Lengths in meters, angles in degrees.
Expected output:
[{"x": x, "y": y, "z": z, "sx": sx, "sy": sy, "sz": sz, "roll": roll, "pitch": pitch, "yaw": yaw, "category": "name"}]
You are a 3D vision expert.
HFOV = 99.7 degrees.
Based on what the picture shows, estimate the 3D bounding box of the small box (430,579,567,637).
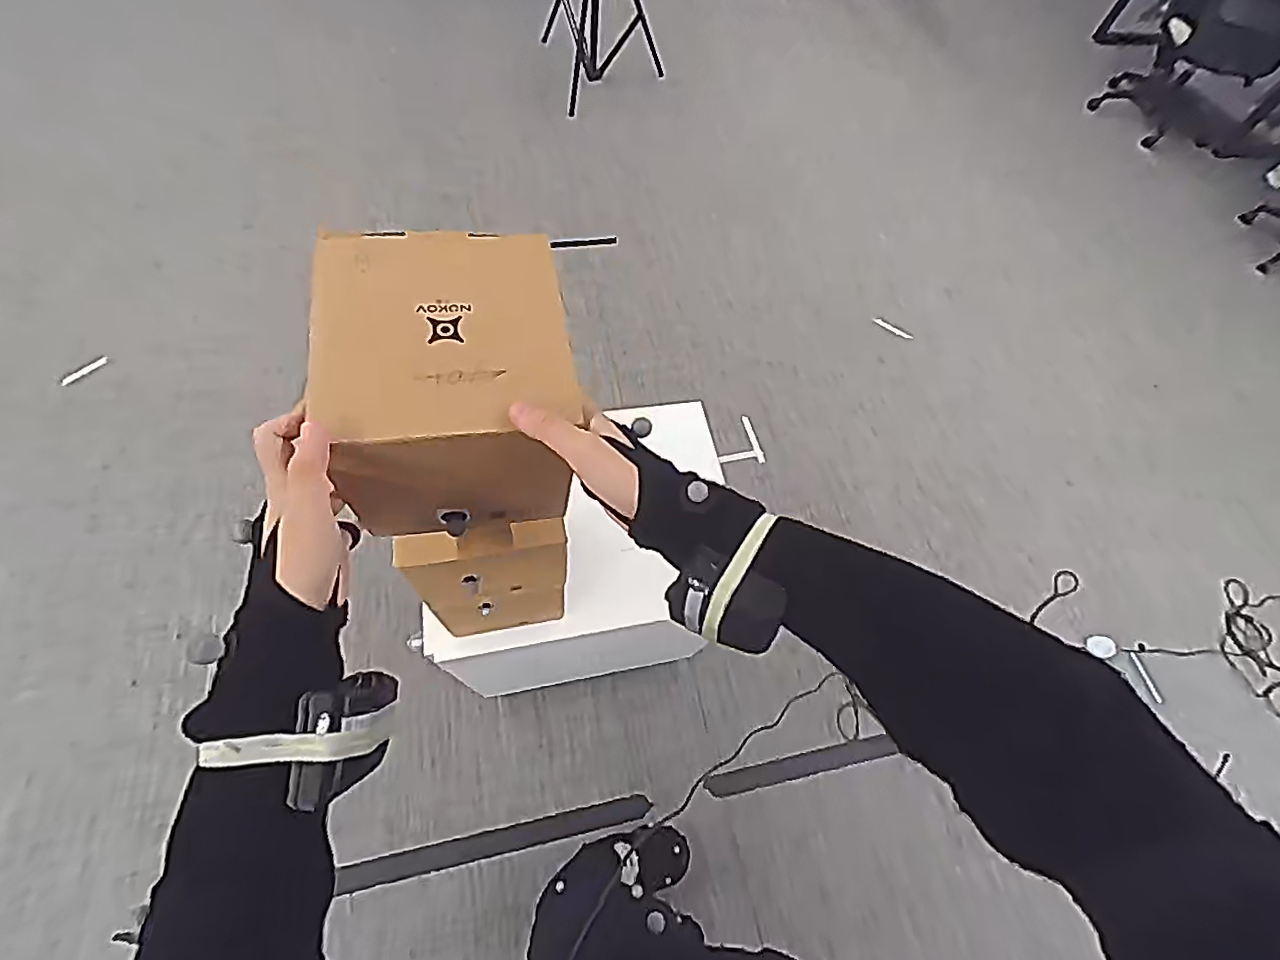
[{"x": -0.198, "y": 0.107, "z": 0.768, "sx": 0.168, "sy": 0.176, "sz": 0.179, "roll": -7, "pitch": 63, "yaw": -12, "category": "small box"}]

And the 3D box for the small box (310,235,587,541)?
[{"x": -0.145, "y": -0.068, "z": 0.436, "sx": 0.168, "sy": 0.176, "sz": 0.179, "roll": -7, "pitch": 67, "yaw": -15, "category": "small box"}]

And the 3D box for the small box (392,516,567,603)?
[{"x": -0.177, "y": 0.034, "z": 0.623, "sx": 0.168, "sy": 0.176, "sz": 0.179, "roll": -9, "pitch": 64, "yaw": -12, "category": "small box"}]
